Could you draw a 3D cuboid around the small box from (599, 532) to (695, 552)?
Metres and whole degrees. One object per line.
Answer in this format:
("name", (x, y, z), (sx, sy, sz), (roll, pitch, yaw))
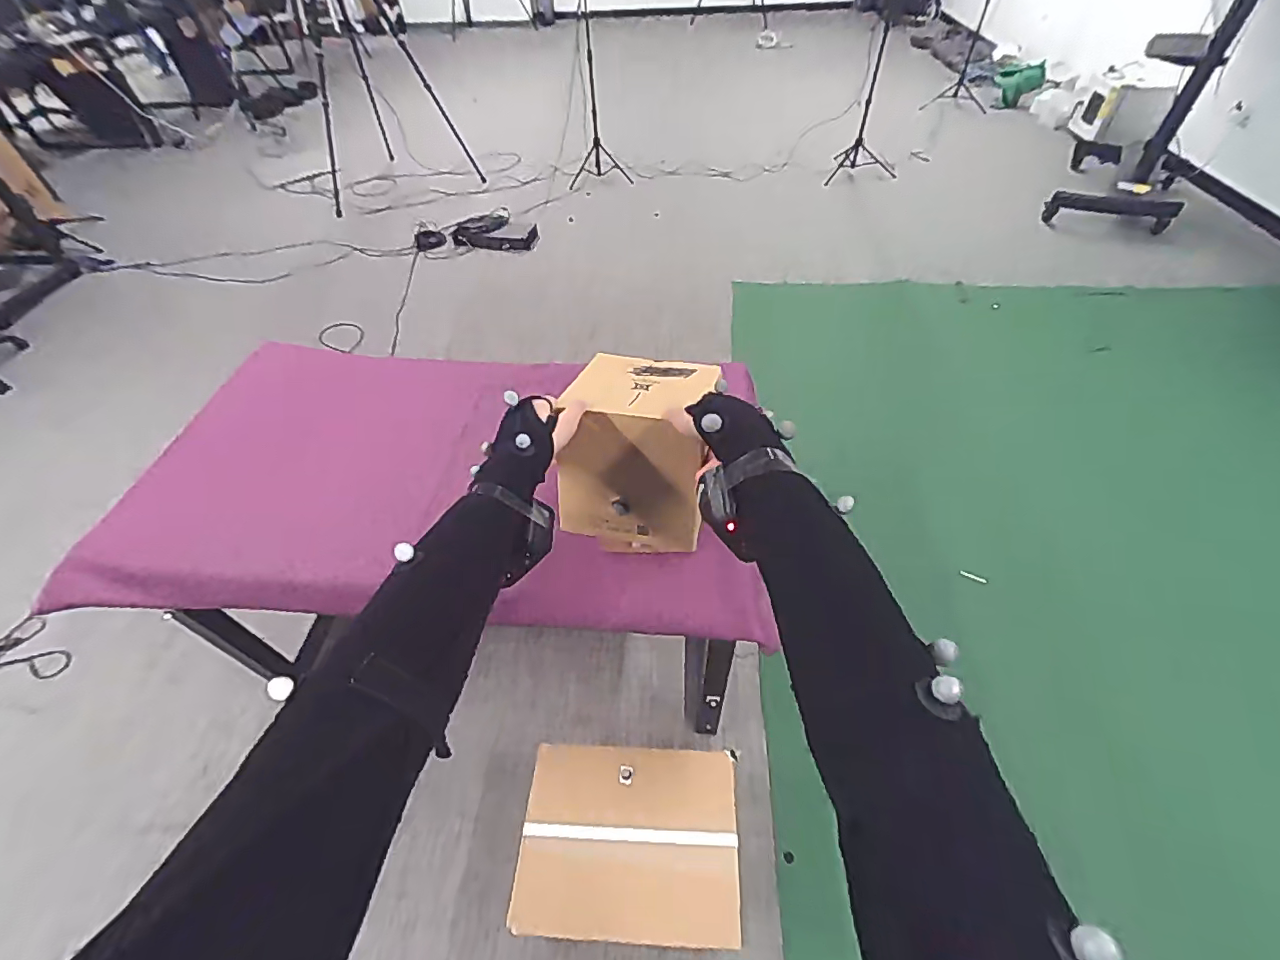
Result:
("small box", (0.009, 0.002, 0.912), (0.168, 0.176, 0.179), (-1, 48, 4))

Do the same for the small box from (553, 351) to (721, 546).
("small box", (0.002, -0.045, 0.666), (0.168, 0.176, 0.179), (7, 33, 11))
